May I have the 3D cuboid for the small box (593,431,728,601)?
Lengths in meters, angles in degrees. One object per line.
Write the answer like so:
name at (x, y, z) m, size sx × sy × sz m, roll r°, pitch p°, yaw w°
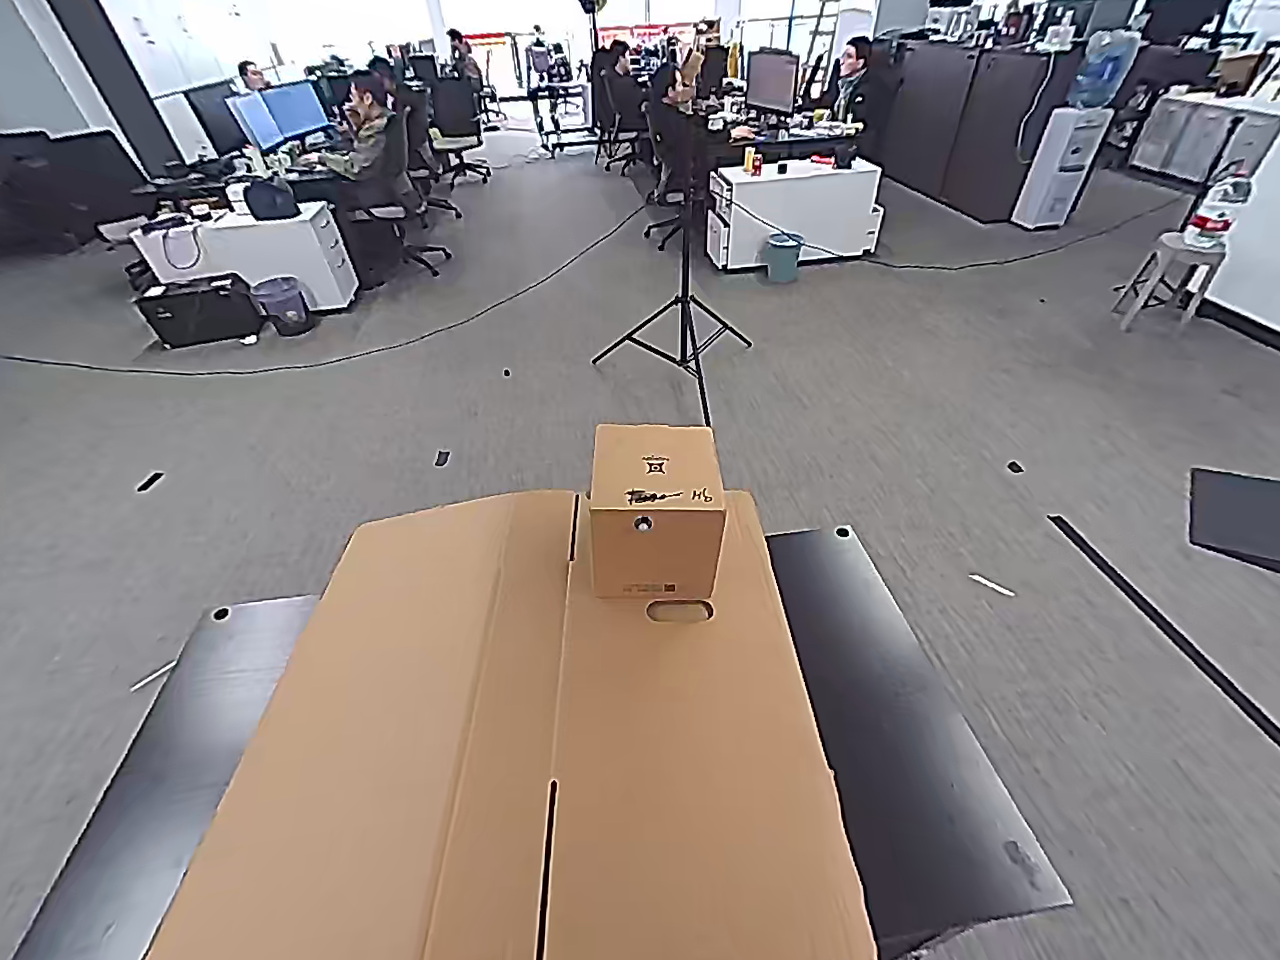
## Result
small box at (0.022, 0.048, 0.759) m, size 0.168 × 0.176 × 0.179 m, roll 0°, pitch 39°, yaw -1°
